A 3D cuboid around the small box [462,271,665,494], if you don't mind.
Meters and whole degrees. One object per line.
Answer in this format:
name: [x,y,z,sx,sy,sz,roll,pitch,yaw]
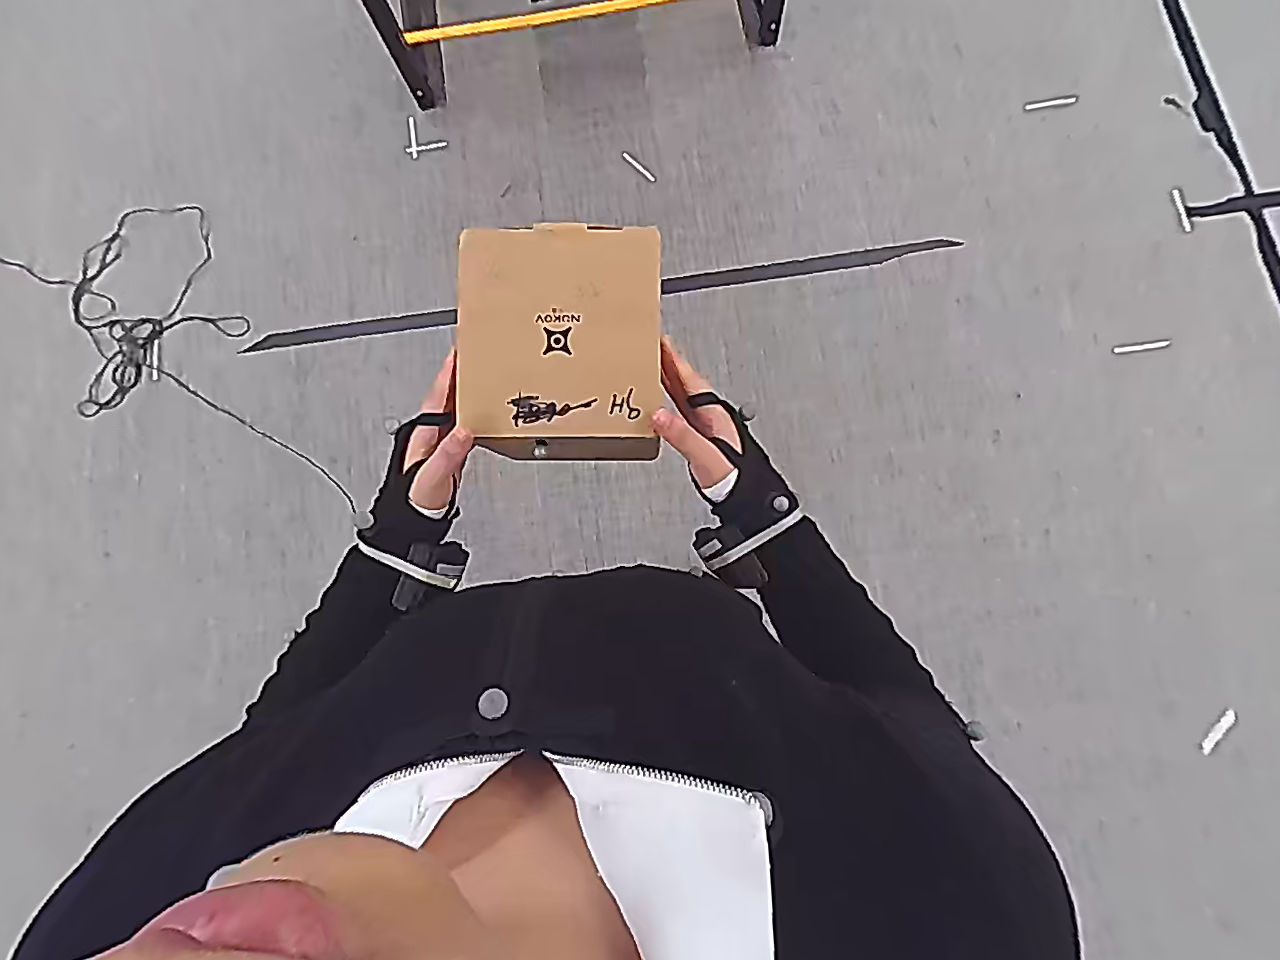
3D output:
small box: [-0.063,-0.081,0.529,0.168,0.176,0.179,1,85,1]
